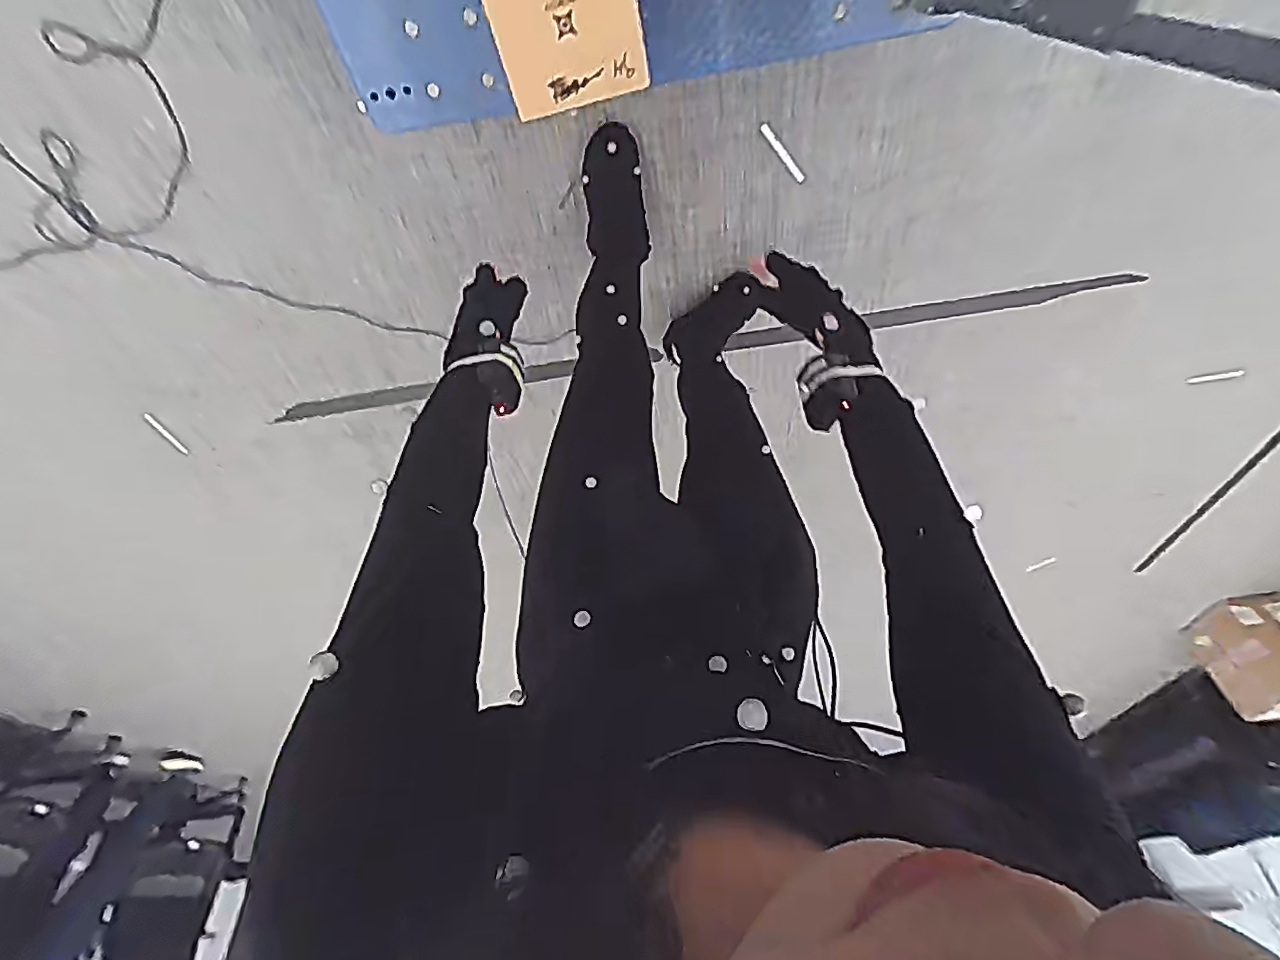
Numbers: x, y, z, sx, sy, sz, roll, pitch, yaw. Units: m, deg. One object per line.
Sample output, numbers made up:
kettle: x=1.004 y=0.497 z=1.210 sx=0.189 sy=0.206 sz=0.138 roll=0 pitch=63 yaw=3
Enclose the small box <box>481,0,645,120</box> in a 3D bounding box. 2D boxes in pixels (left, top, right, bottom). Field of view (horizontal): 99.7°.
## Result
small box: x=-0.096 y=-0.575 z=0.657 sx=0.168 sy=0.176 sz=0.179 roll=-12 pitch=136 yaw=5
